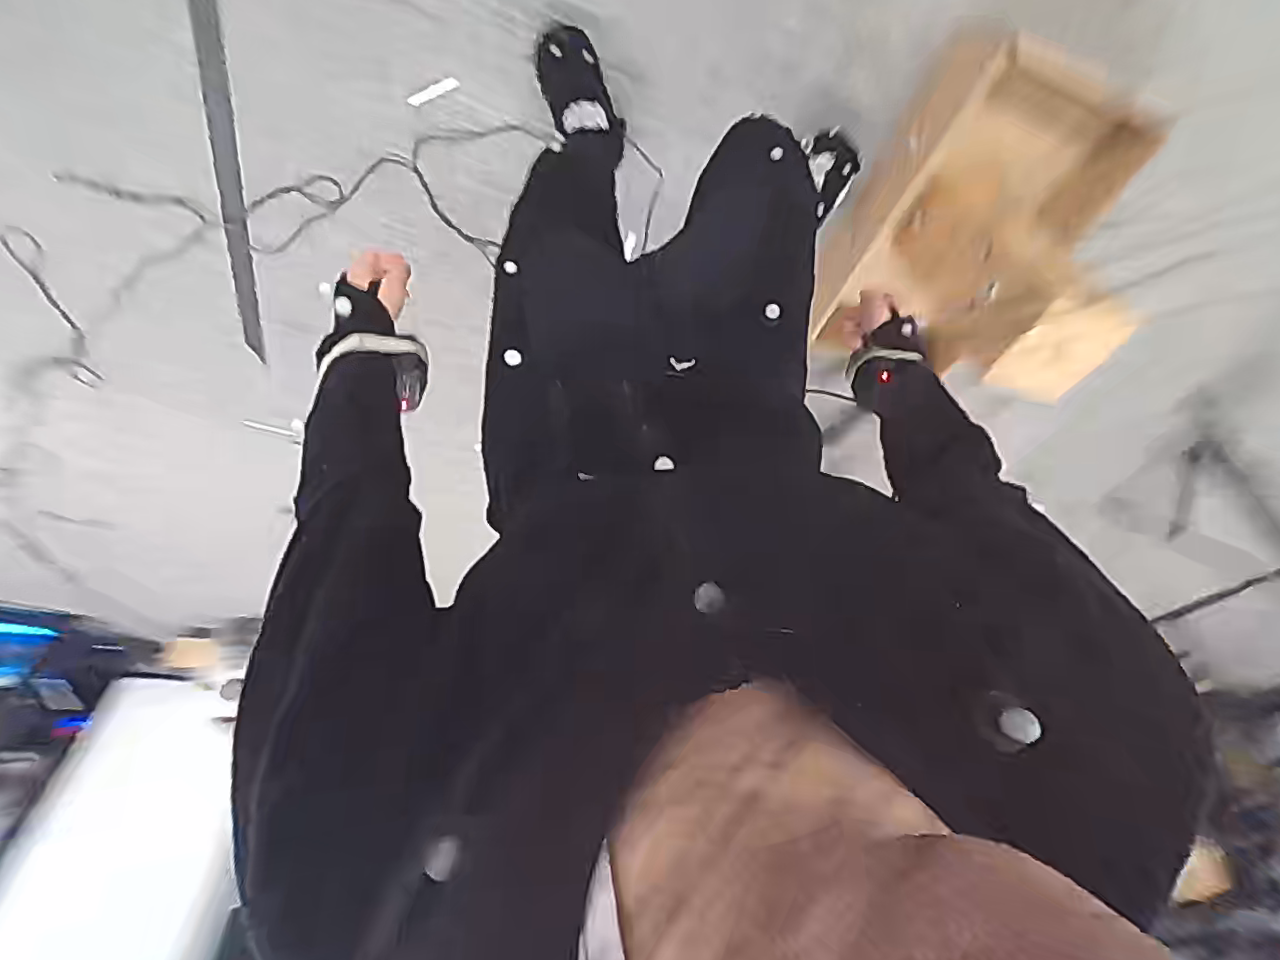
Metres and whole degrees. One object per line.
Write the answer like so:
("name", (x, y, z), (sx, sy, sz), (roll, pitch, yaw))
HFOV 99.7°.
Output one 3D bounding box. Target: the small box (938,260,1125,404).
("small box", (0.681, -0.265, 0.964), (0.179, 0.176, 0.168), (10, 138, -13))
